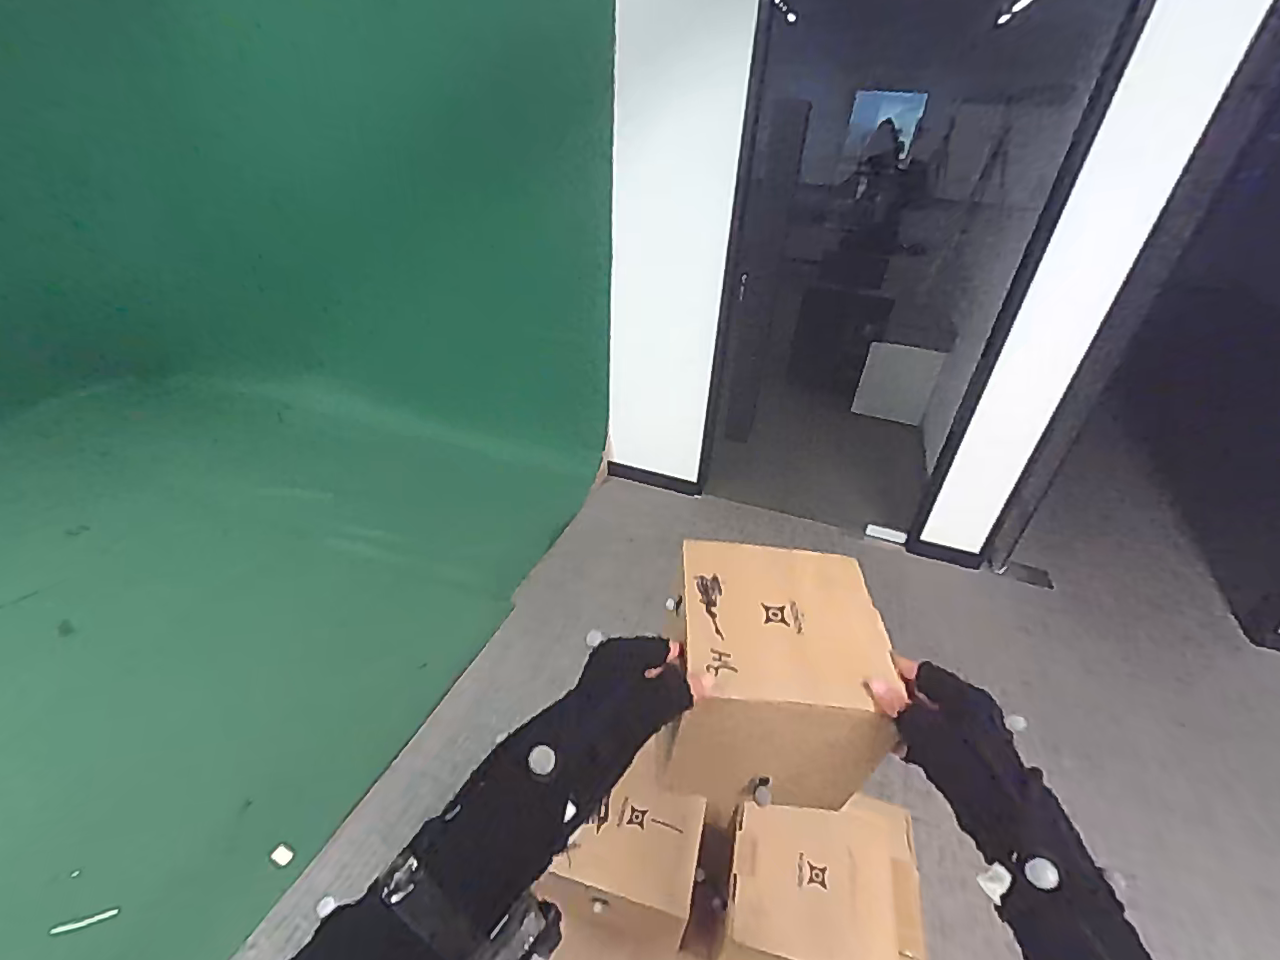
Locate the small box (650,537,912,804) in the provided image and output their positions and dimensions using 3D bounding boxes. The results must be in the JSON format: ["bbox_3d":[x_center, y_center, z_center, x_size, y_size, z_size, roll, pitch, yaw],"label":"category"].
[{"bbox_3d":[0.112,0.181,0.512,0.179,0.176,0.168,9,36,-3],"label":"small box"}]

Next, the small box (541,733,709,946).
[{"bbox_3d":[-0.012,0.469,0.708,0.179,0.176,0.168,11,41,11],"label":"small box"}]
